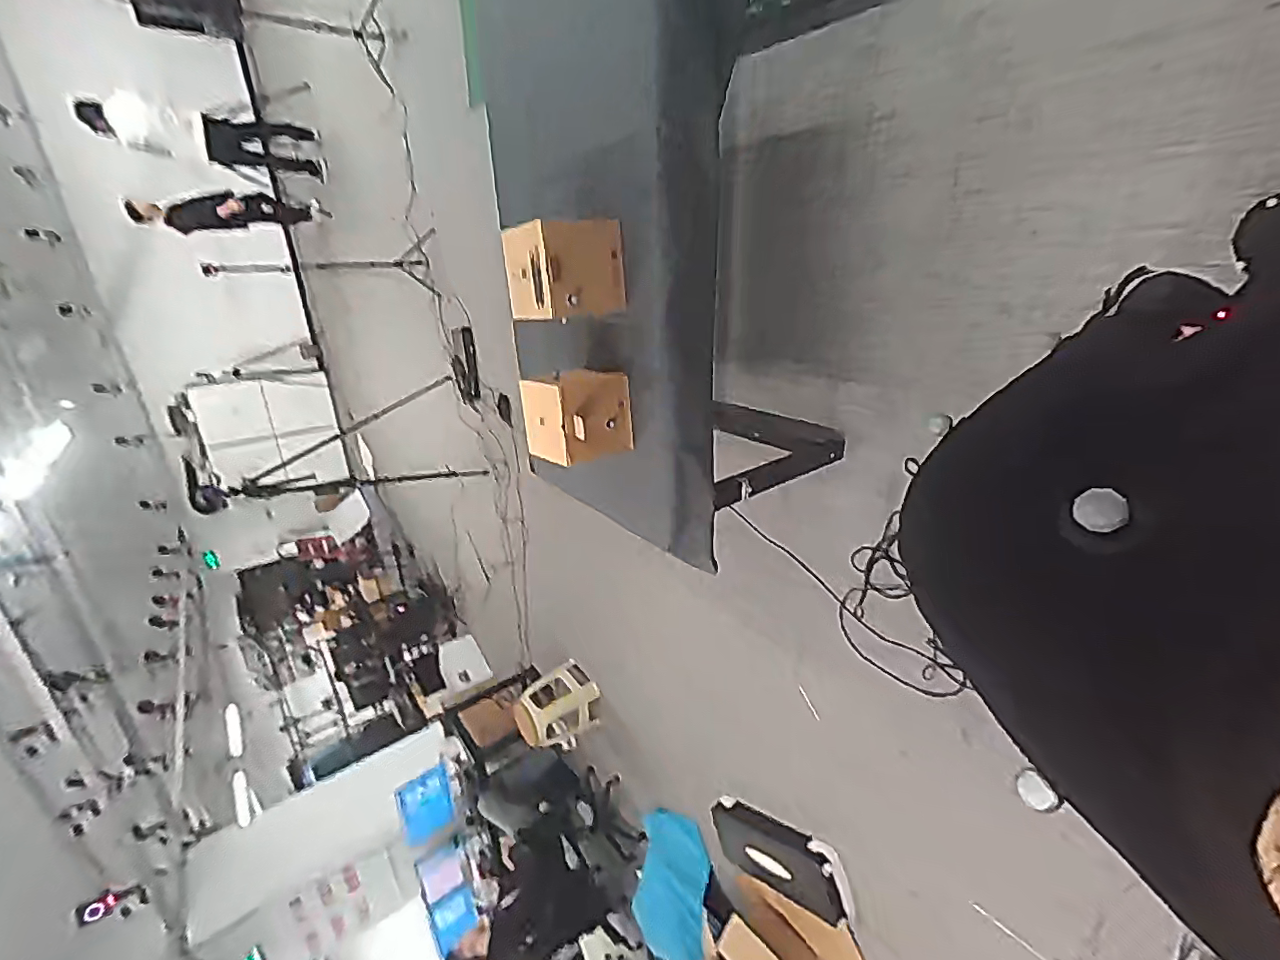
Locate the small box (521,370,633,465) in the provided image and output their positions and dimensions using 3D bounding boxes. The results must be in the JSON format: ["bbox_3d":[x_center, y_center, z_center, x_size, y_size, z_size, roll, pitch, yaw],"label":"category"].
[{"bbox_3d":[-0.134,-0.142,1.158,0.179,0.176,0.168,18,118,49],"label":"small box"}]
